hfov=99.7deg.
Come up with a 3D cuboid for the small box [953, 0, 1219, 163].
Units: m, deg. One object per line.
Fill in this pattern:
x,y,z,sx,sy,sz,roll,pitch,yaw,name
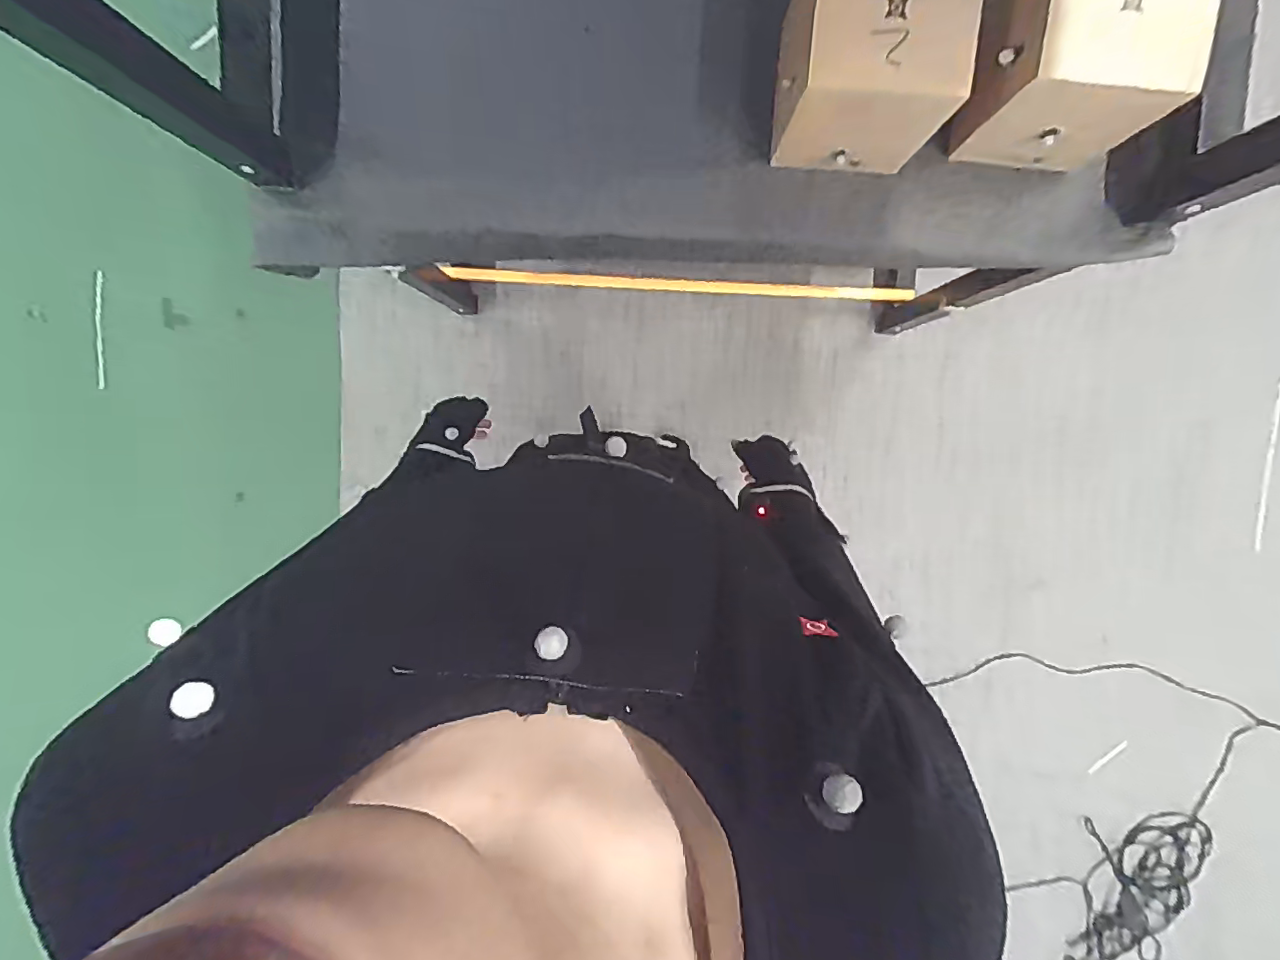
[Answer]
0.486,-0.489,0.610,0.168,0.176,0.179,6,95,0,small box
